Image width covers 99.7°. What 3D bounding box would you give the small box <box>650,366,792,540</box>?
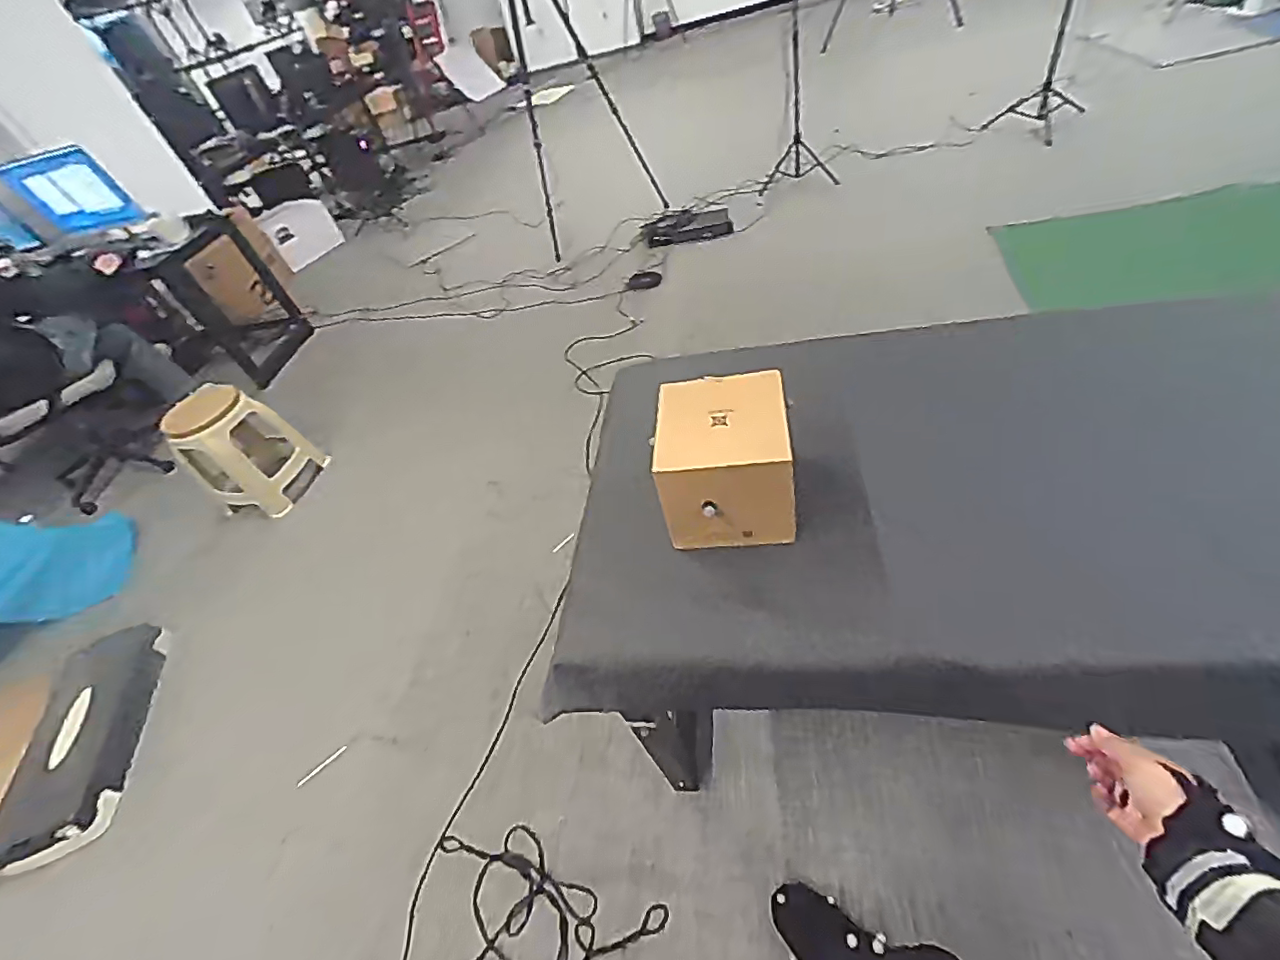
[{"bbox_3d":[0.116,-0.029,0.744,0.168,0.176,0.179,-5,46,13],"label":"small box"}]
